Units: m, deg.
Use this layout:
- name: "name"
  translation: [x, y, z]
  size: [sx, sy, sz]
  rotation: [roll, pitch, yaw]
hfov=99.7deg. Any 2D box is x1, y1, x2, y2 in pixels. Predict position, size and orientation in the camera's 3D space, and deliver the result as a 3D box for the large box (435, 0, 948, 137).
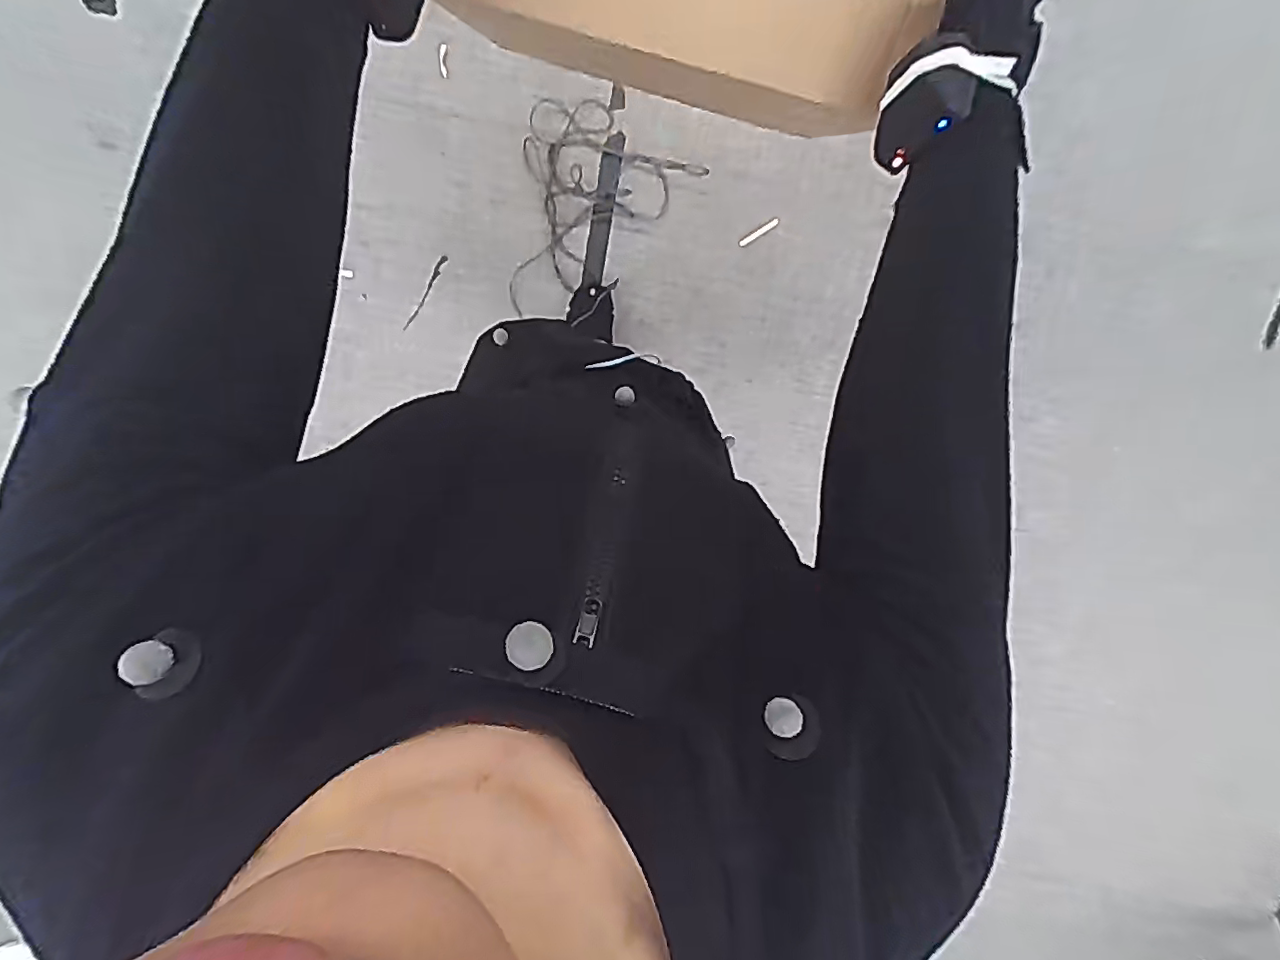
- name: "large box"
  translation: [0.056, -0.537, 0.483]
  size: [0.408, 0.320, 0.320]
  rotation: [11, 121, -7]
